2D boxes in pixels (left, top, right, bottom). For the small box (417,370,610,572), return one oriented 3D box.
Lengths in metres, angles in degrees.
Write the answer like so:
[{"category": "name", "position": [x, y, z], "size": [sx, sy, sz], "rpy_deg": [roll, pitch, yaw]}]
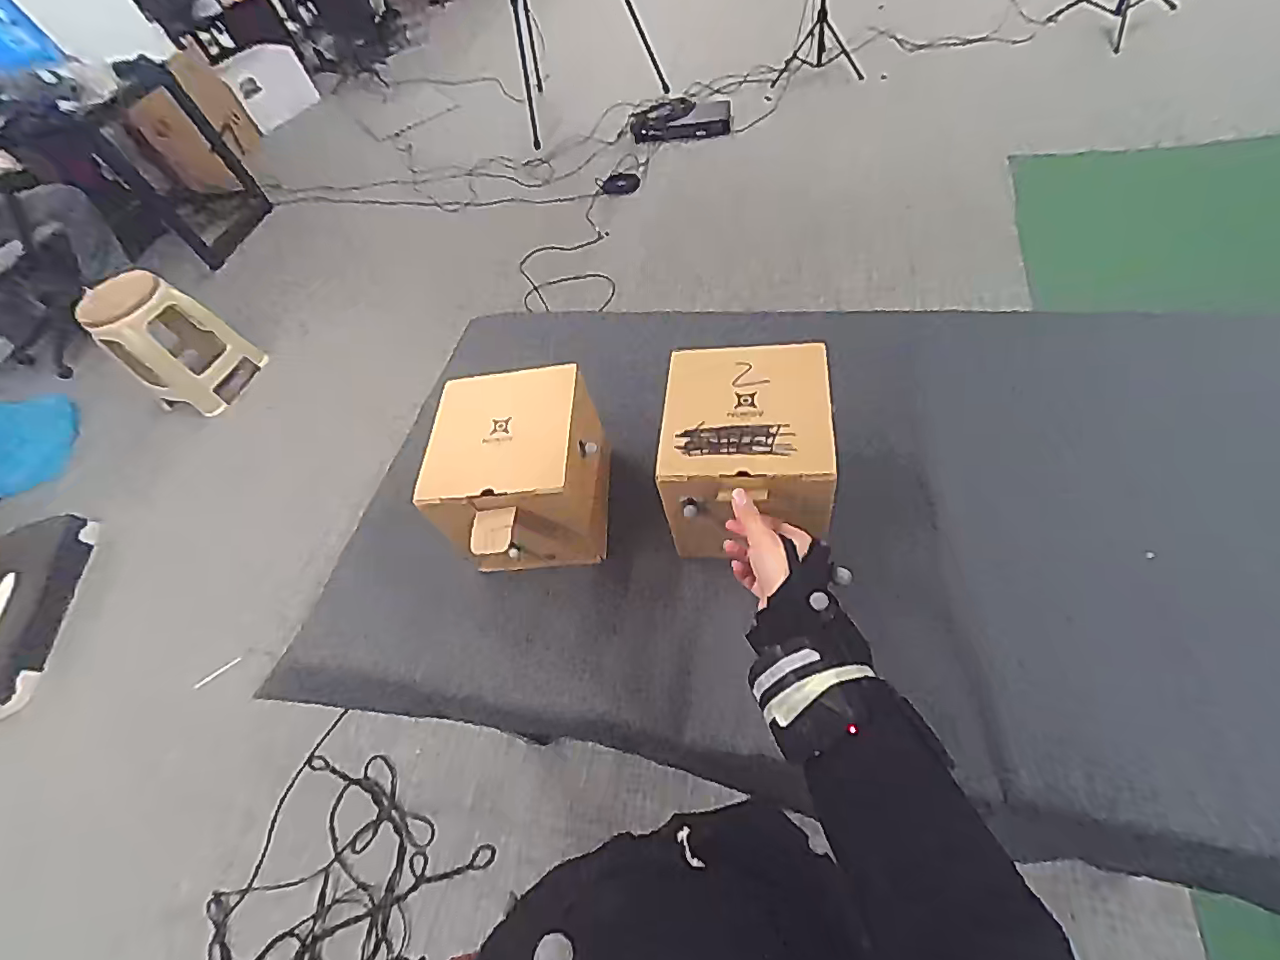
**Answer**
[{"category": "small box", "position": [-0.135, -0.006, 0.654], "size": [0.168, 0.176, 0.179], "rpy_deg": [-6, 55, 9]}]
